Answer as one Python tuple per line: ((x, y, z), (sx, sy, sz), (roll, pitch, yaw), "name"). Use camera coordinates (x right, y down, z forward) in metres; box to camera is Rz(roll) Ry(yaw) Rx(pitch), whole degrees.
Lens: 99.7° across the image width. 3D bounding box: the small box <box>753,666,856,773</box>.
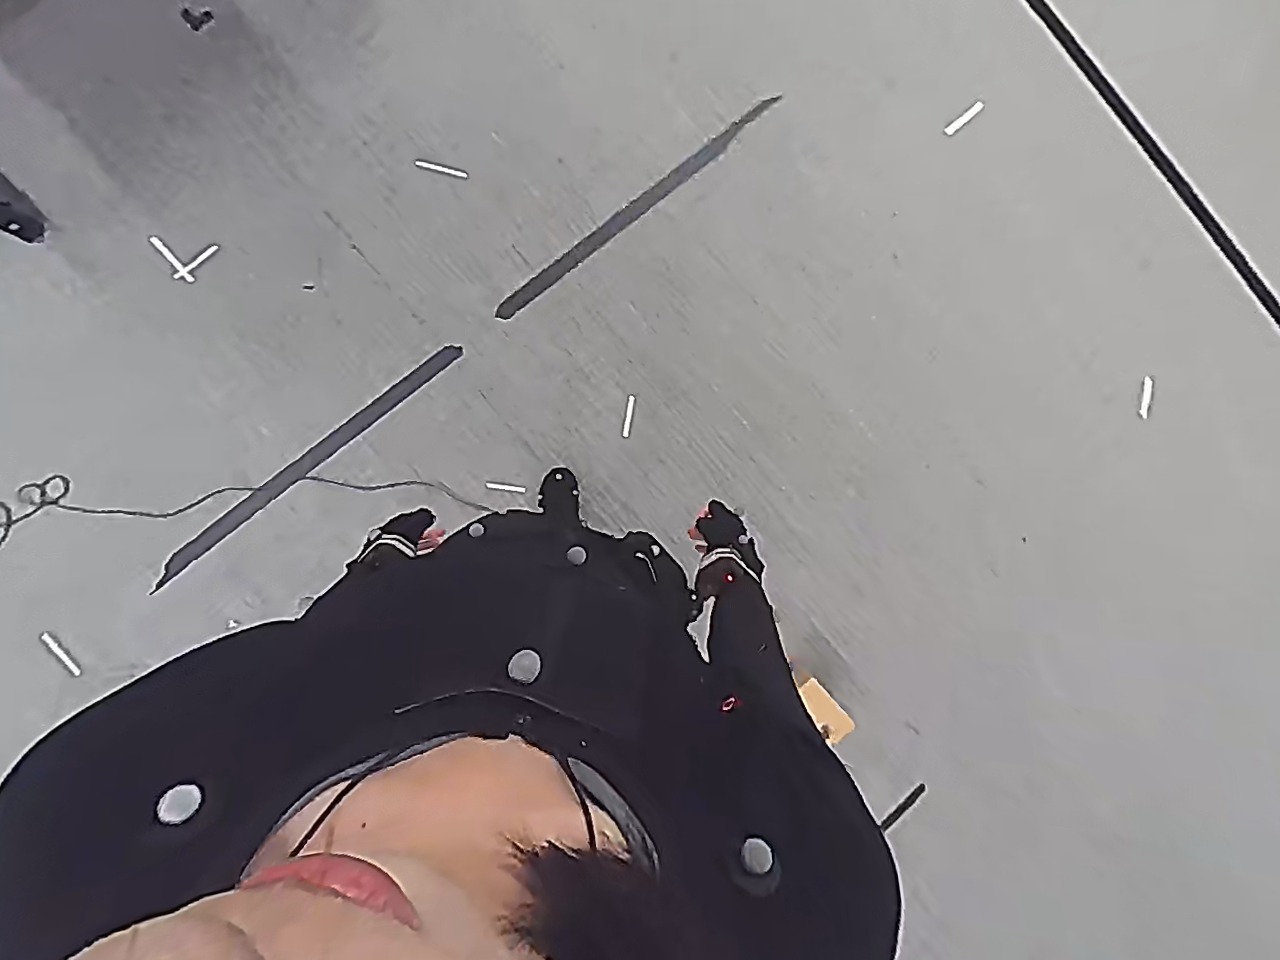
((0.435, 0.636, 1.461), (0.168, 0.176, 0.179), (-42, 91, -4), "small box")
